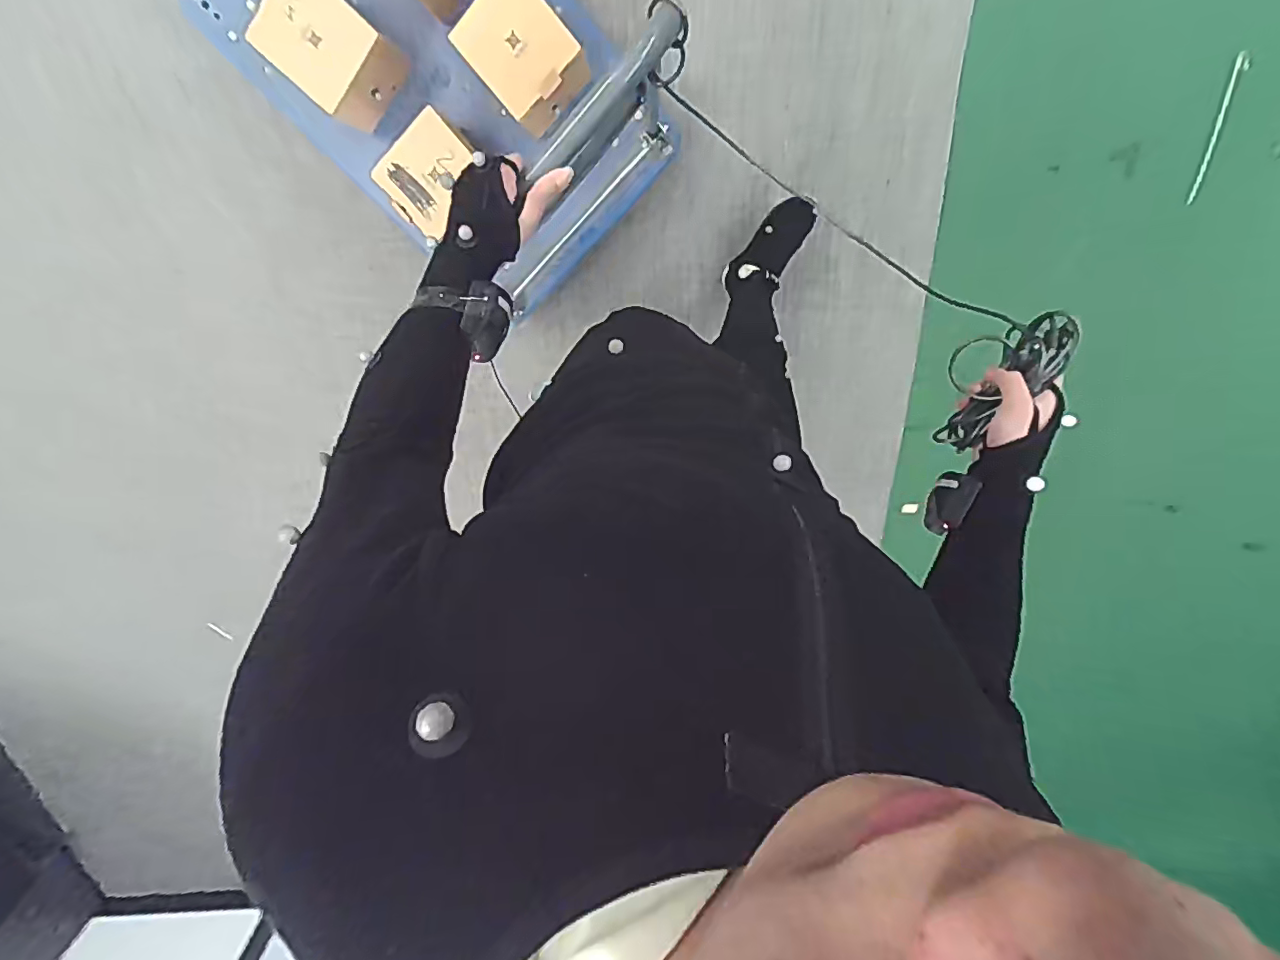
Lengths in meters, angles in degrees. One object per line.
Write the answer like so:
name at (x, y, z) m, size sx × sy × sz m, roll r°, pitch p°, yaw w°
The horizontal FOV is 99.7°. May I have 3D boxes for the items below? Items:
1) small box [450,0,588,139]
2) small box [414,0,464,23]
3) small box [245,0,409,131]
small box at (-0.218, -0.788, 1.022) m, size 0.168 × 0.176 × 0.179 m, roll -41°, pitch 108°, yaw 15°
small box at (-0.391, -0.964, 0.946) m, size 0.179 × 0.176 × 0.168 m, roll 42°, pitch 107°, yaw -17°
small box at (-0.571, -0.795, 1.015) m, size 0.179 × 0.176 × 0.168 m, roll 40°, pitch 106°, yaw -15°
